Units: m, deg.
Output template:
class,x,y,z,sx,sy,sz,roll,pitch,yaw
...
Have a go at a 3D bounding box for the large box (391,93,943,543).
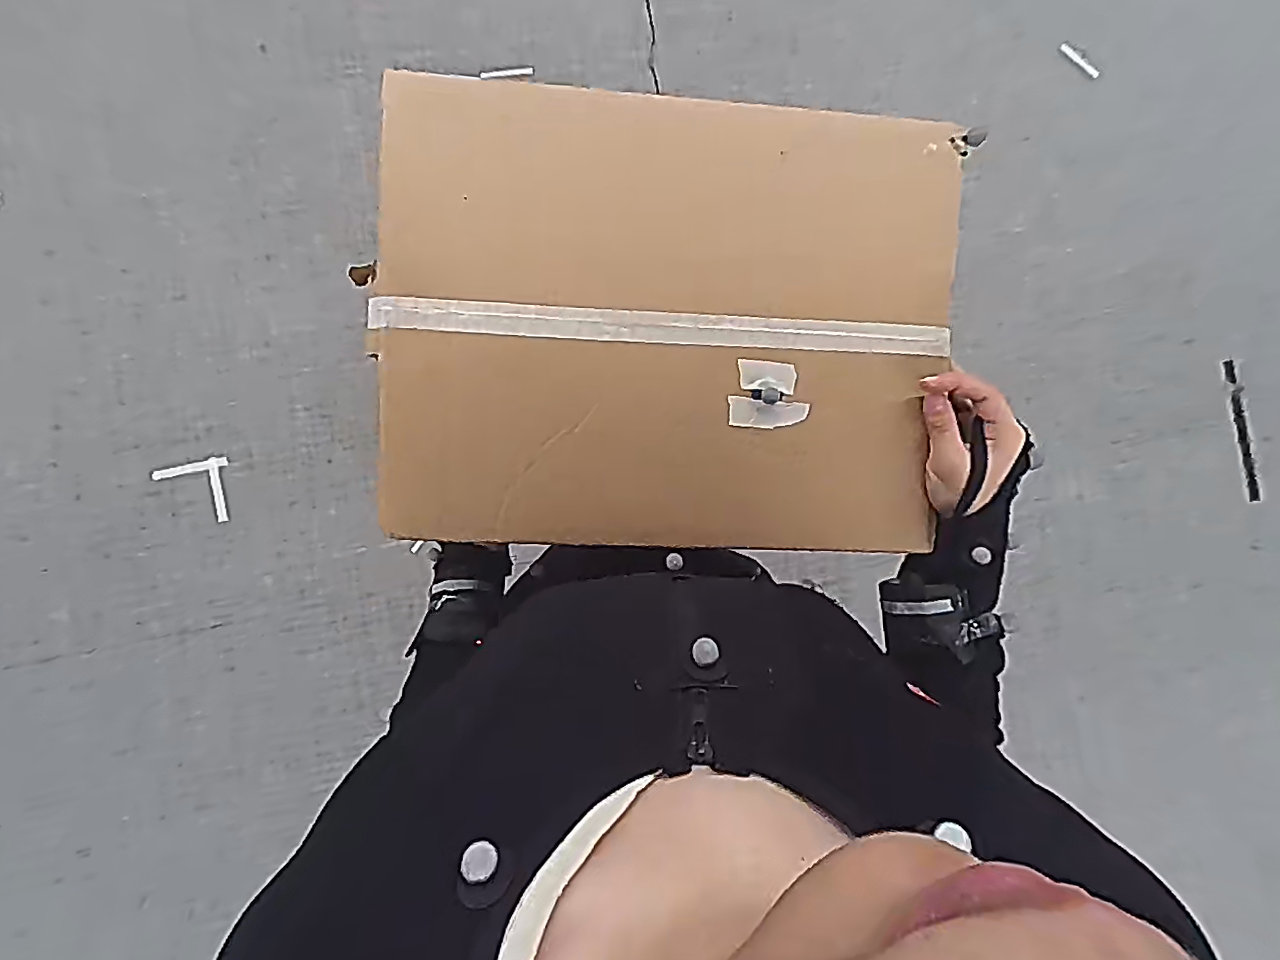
class,x,y,z,sx,sy,sz,roll,pitch,yaw
large box,0.012,-0.118,0.540,0.408,0.320,0.320,1,95,-6
